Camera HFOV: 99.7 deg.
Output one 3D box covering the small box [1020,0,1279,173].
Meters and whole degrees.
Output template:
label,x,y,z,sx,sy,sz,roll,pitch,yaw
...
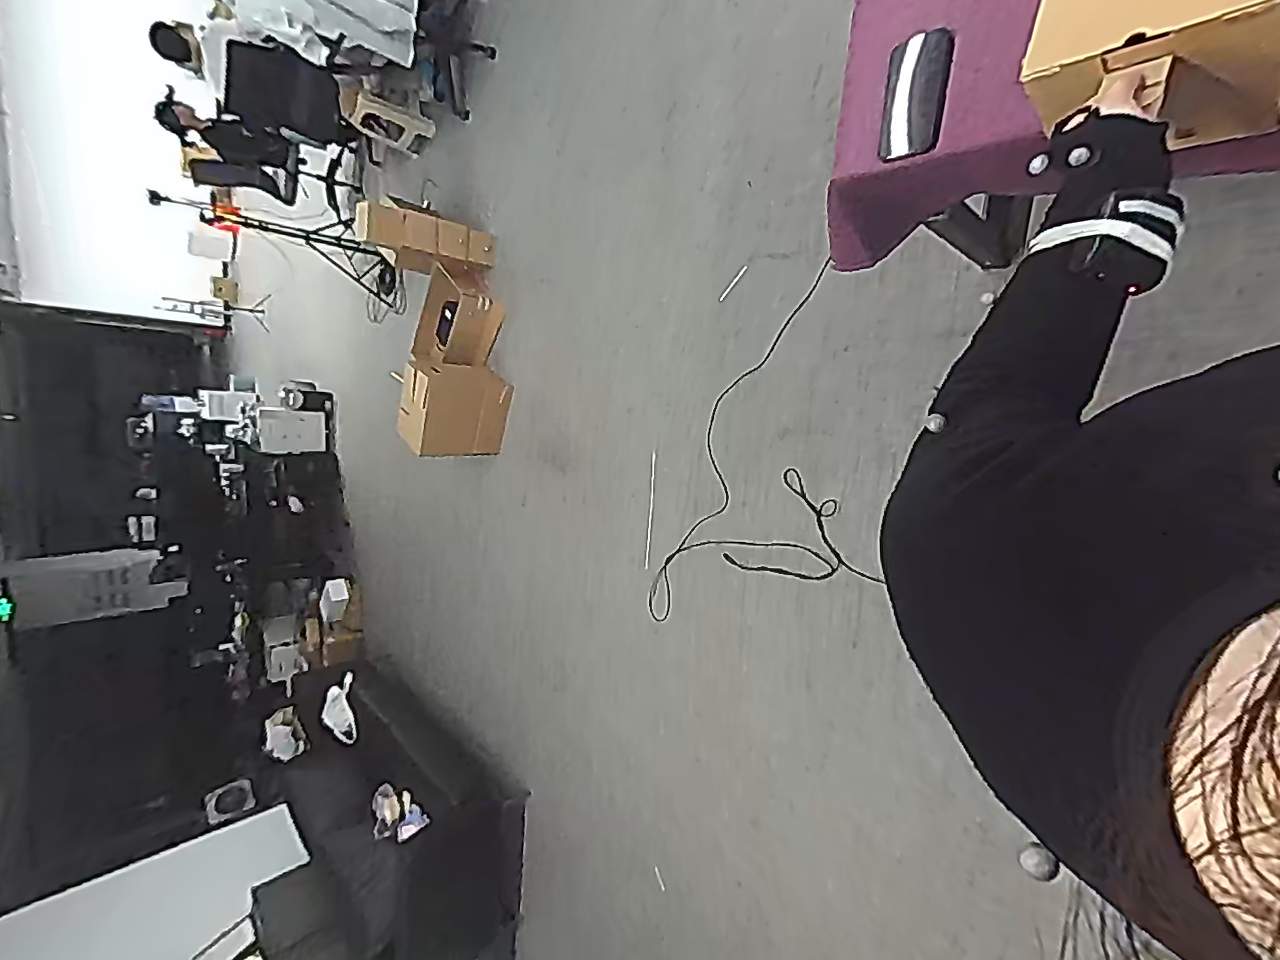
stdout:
label,x,y,z,sx,sy,sz,roll,pitch,yaw
small box,0.489,-0.426,0.500,0.168,0.176,0.179,18,95,48
